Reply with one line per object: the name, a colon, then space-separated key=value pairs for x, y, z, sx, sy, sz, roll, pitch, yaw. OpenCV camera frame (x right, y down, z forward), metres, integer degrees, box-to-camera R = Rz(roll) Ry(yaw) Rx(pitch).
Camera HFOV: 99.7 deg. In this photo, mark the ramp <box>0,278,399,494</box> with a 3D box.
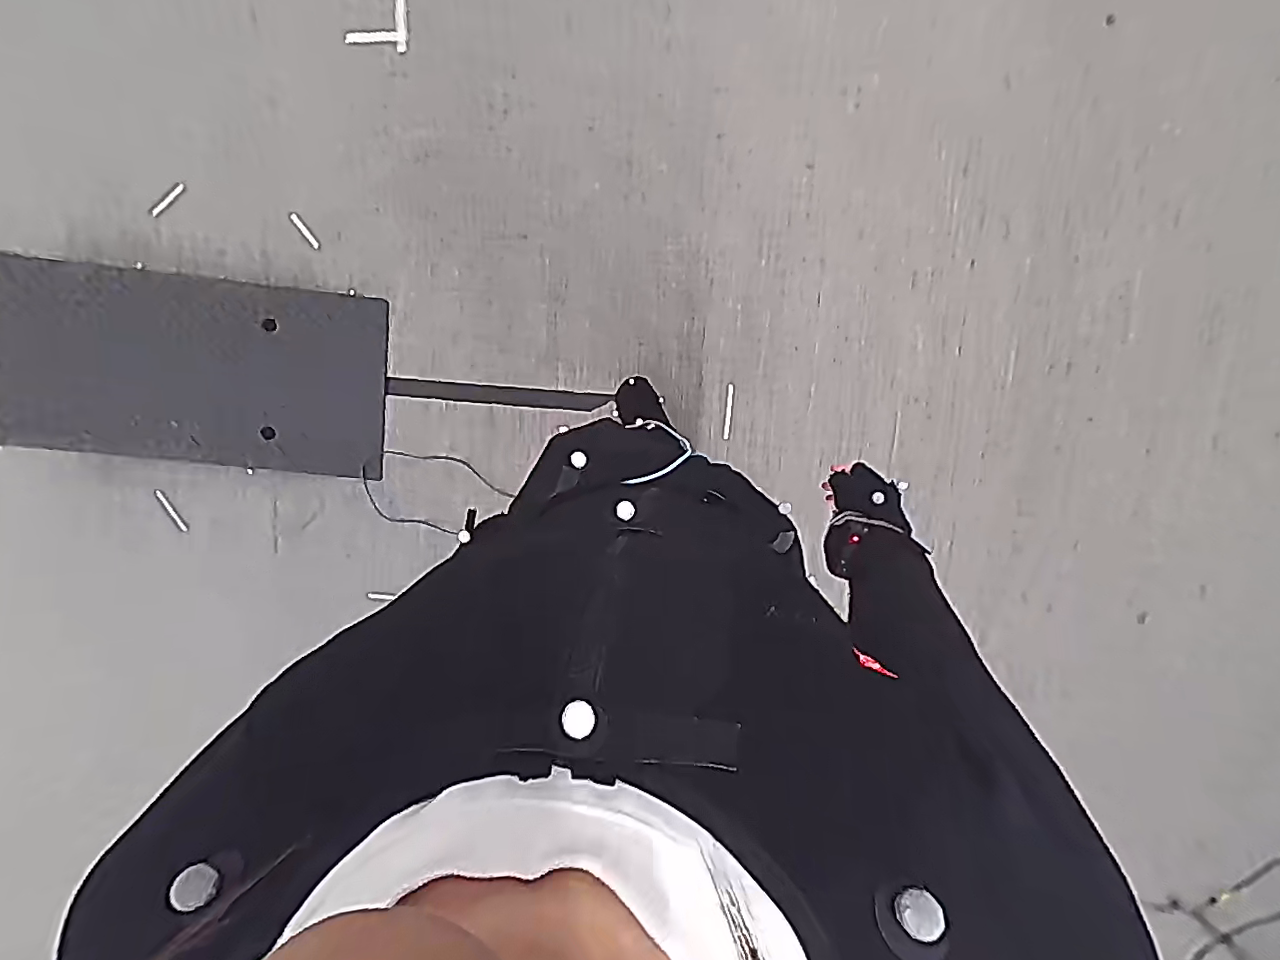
ramp: x=-1.170 y=-0.239 z=1.451 sx=0.991 sy=0.206 sz=0.509 roll=4 pitch=96 yaw=5
